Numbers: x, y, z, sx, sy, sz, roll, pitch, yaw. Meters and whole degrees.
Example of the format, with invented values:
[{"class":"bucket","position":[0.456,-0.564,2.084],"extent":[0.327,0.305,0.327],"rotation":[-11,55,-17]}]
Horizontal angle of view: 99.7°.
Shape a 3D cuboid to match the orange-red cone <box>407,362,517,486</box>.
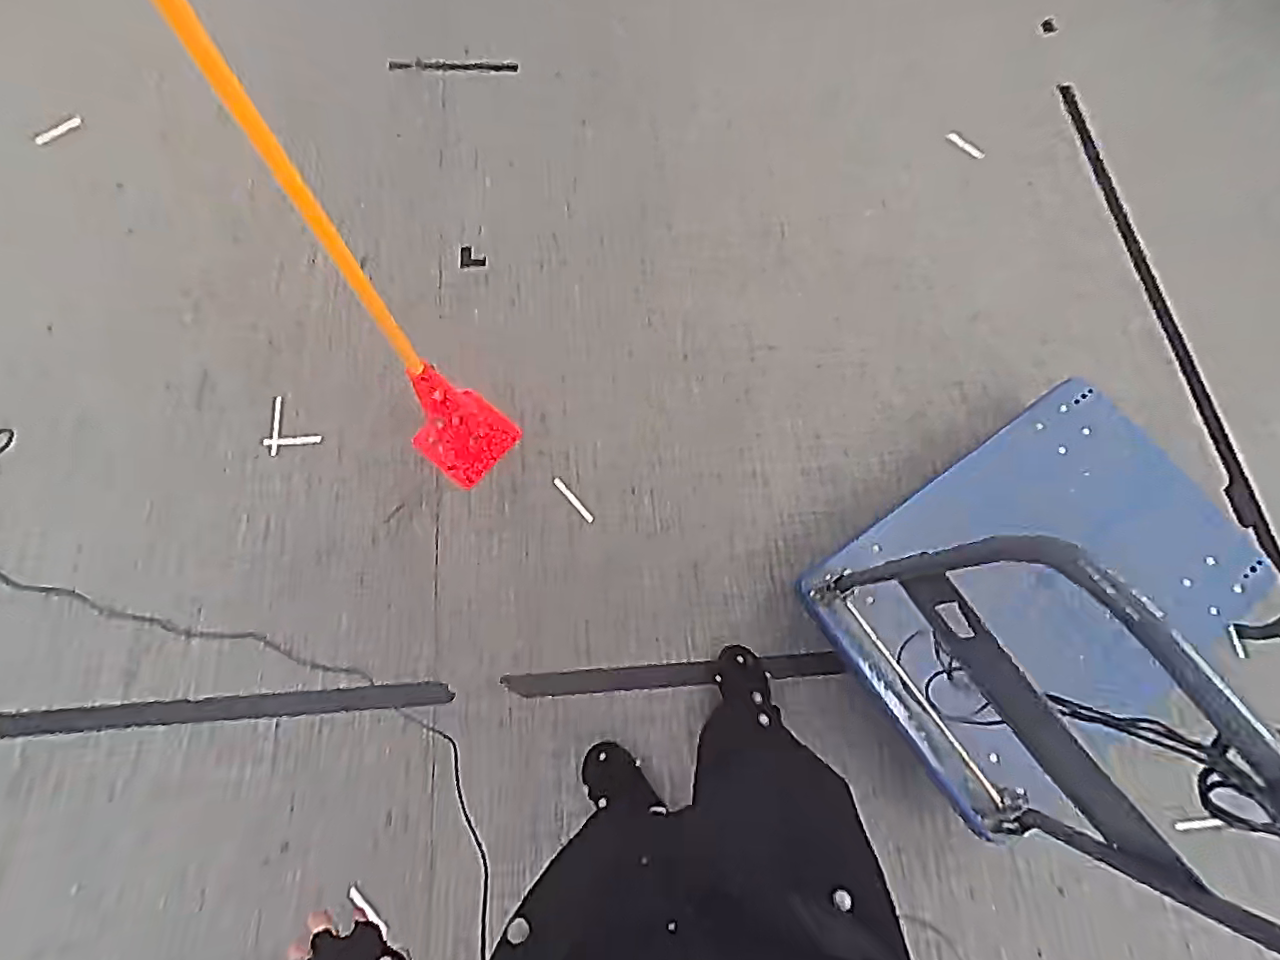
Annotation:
[{"class":"orange-red cone","position":[-0.418,-0.153,1.161],"extent":[0.199,0.360,0.198],"rotation":[40,76,8]}]
